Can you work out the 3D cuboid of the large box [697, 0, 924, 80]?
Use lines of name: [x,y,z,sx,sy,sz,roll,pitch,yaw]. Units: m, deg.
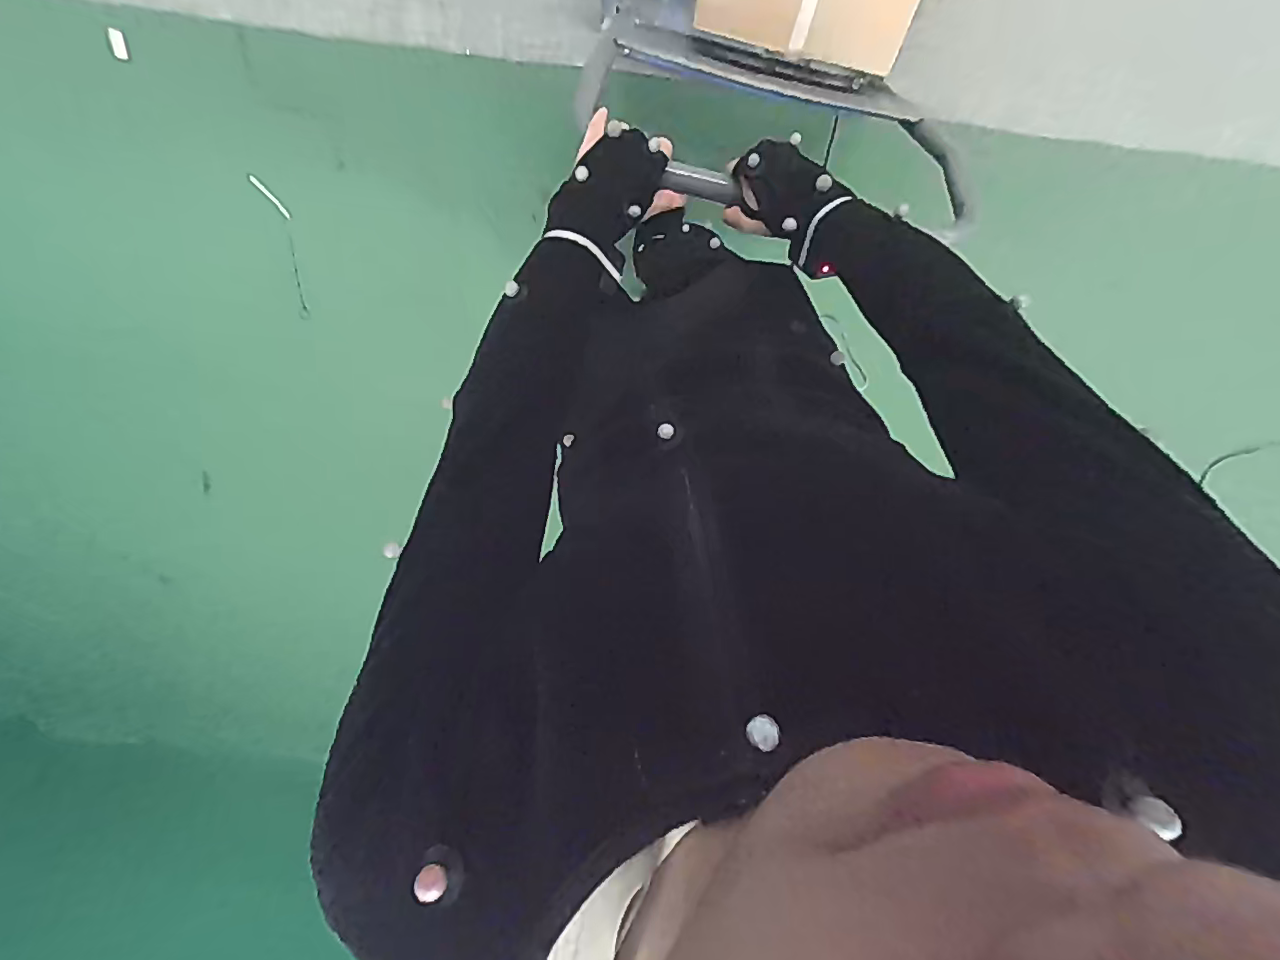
large box: [0.276,-0.873,0.794,0.320,0.320,0.408,10,131,-5]
